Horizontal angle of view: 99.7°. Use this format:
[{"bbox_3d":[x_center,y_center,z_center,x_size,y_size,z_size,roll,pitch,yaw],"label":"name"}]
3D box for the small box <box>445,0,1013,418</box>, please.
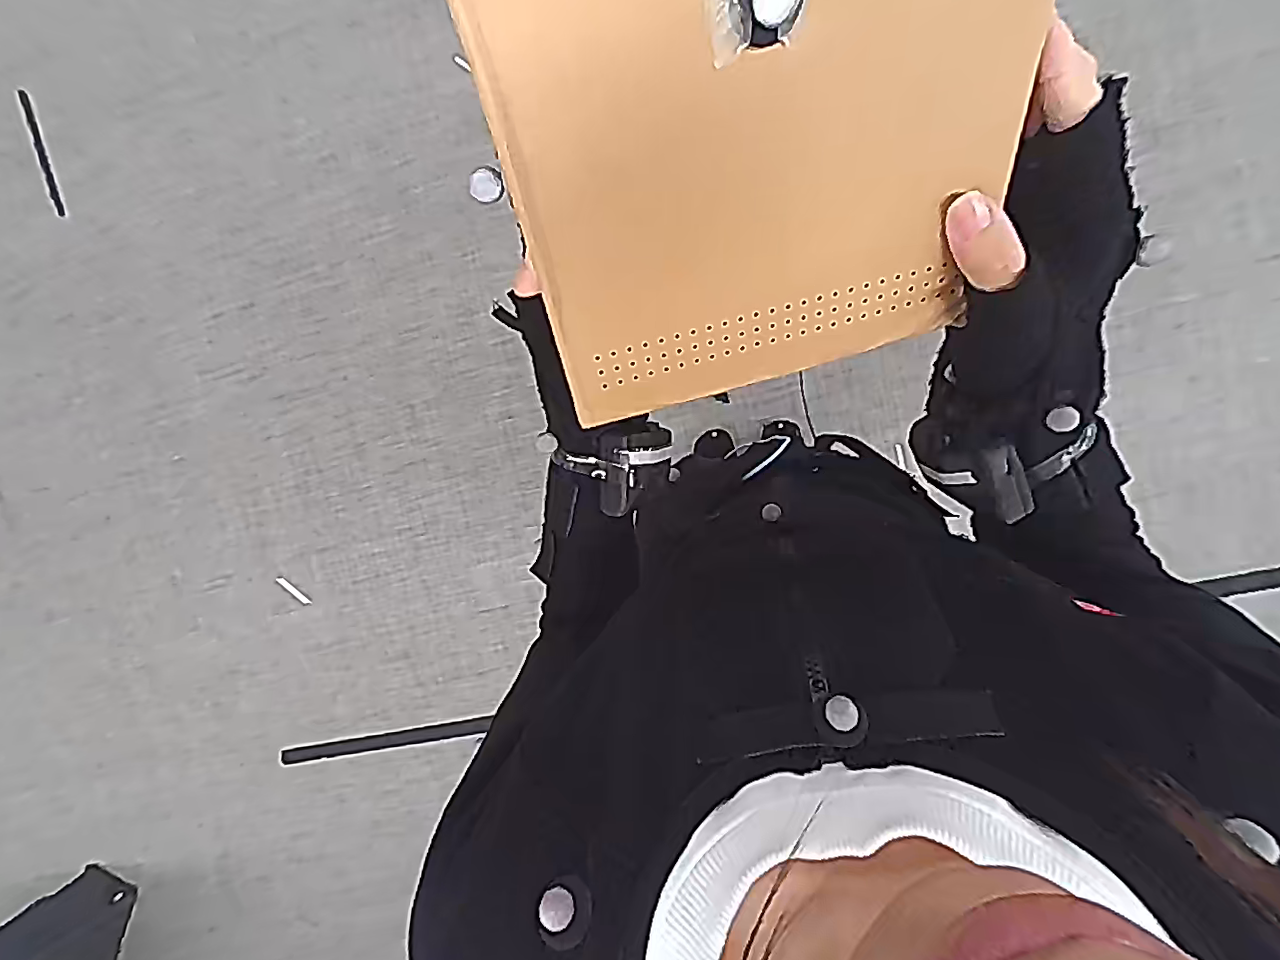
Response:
[{"bbox_3d":[0.031,-0.149,0.241,0.179,0.168,0.176,-15,132,-1],"label":"small box"}]
